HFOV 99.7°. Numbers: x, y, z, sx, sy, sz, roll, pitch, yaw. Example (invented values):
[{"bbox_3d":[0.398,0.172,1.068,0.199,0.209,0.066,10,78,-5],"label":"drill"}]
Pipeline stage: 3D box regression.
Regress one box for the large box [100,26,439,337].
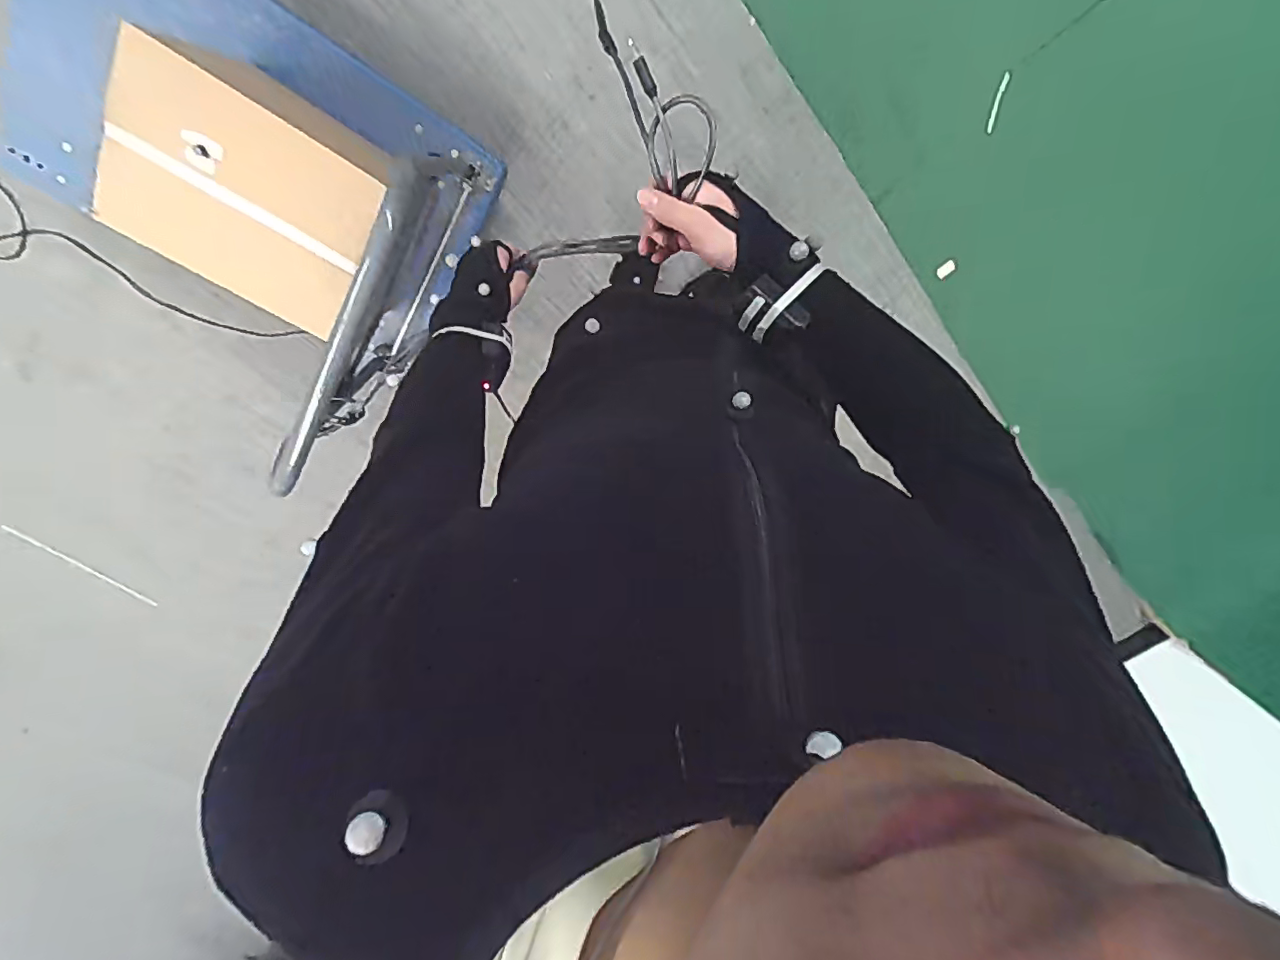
[{"bbox_3d":[-0.669,-0.540,1.038,0.408,0.320,0.320,29,113,-16],"label":"large box"}]
